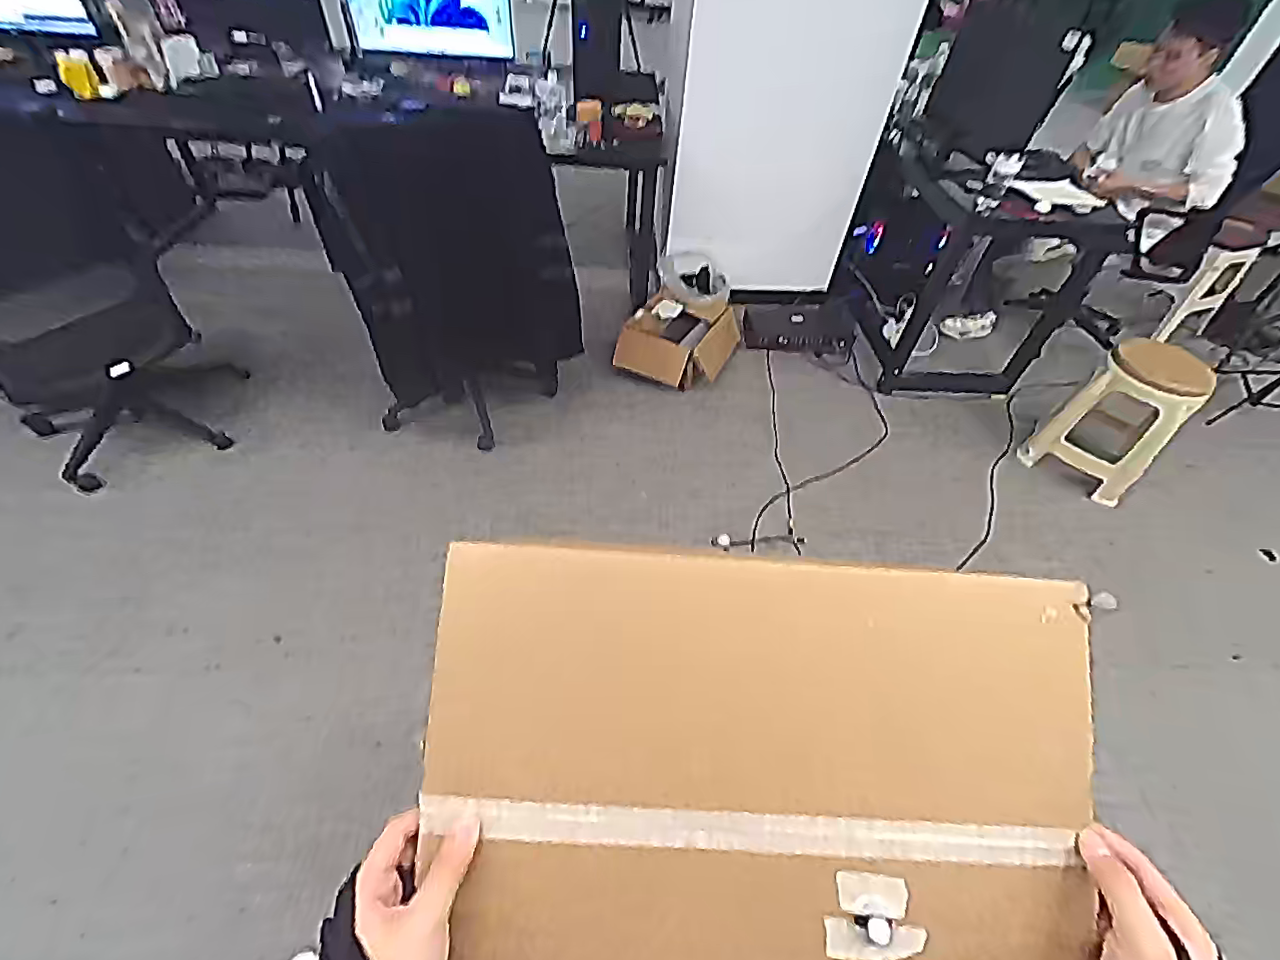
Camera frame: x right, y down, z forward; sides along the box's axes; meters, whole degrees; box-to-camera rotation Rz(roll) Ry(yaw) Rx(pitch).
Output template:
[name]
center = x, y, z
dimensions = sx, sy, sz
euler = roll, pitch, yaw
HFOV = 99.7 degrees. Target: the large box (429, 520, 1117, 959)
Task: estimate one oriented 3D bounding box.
[large box]
center = 0.076, 0.204, 0.466
dimensions = 0.408, 0.320, 0.320
euler = 4, 84, -2
